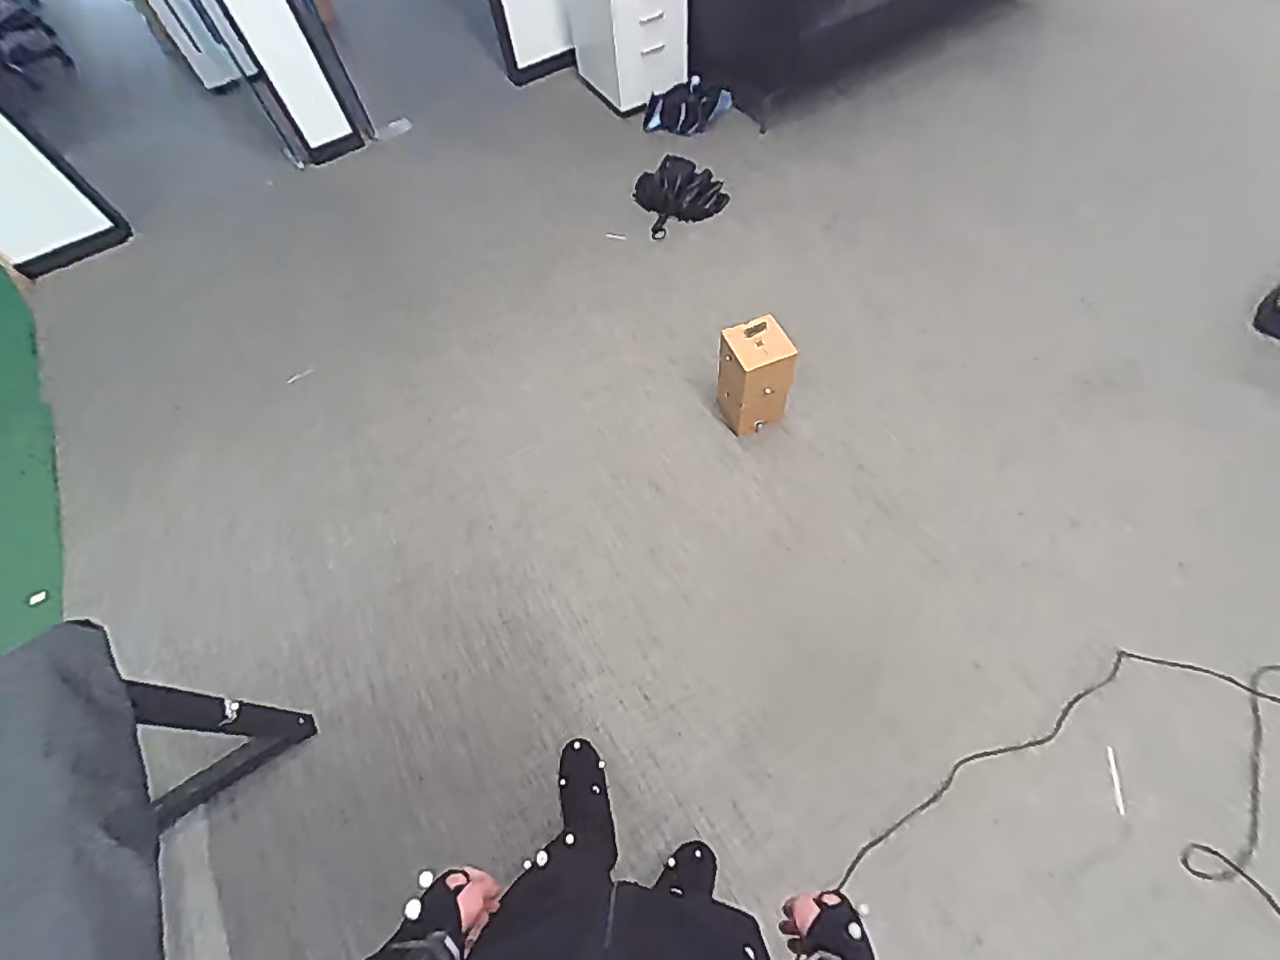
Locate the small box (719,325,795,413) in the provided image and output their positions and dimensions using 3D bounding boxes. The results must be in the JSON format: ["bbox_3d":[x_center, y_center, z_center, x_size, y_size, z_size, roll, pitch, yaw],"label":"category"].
[{"bbox_3d":[0.349,-0.338,1.659,0.168,0.176,0.179,-20,61,-5],"label":"small box"}]

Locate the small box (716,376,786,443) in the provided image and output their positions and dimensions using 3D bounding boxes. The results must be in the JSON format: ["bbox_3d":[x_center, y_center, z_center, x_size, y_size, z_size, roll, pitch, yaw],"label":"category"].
[{"bbox_3d":[0.360,-0.255,1.802,0.168,0.176,0.179,-21,62,-6],"label":"small box"}]
